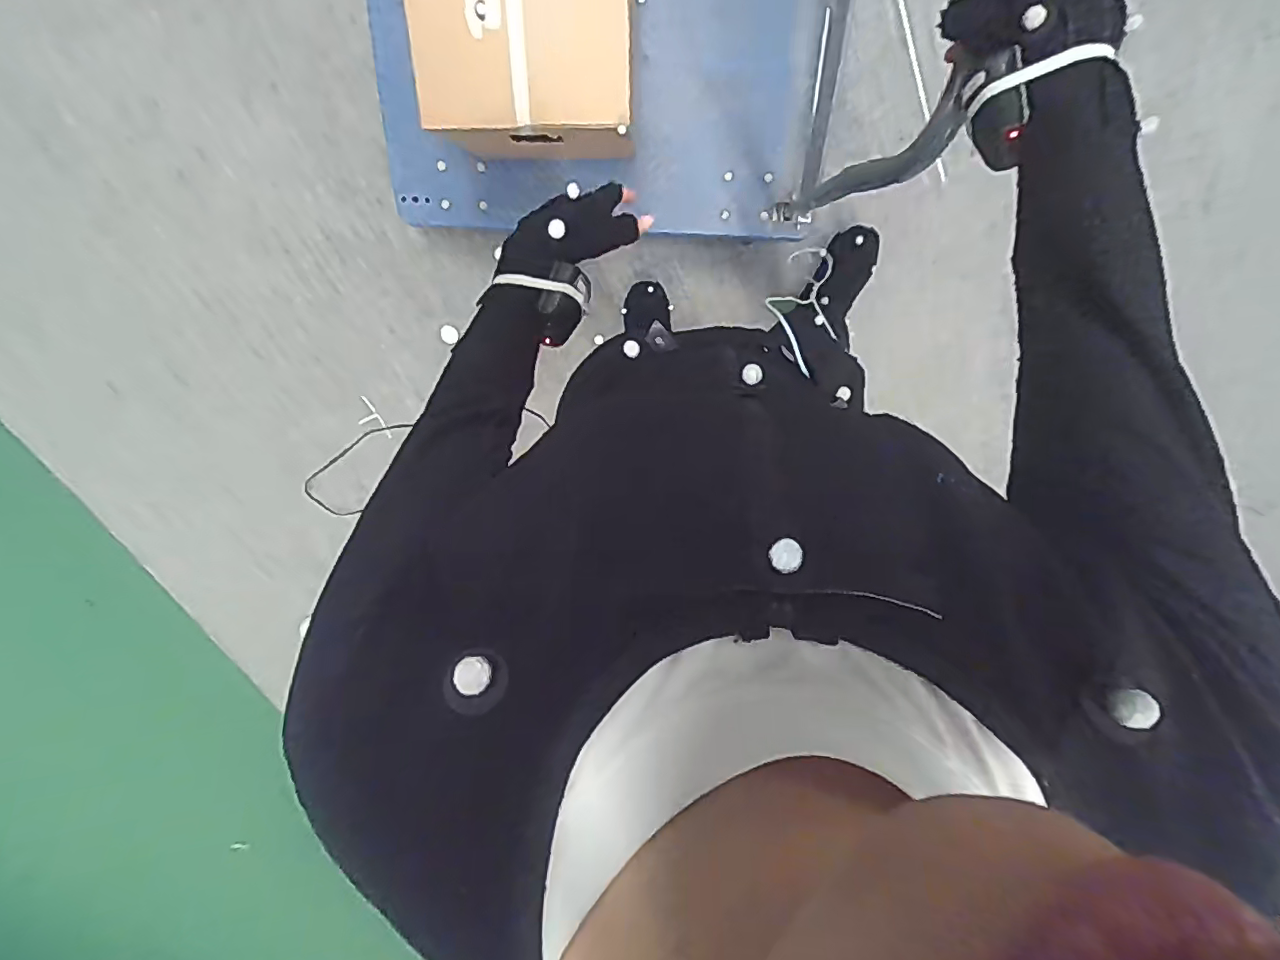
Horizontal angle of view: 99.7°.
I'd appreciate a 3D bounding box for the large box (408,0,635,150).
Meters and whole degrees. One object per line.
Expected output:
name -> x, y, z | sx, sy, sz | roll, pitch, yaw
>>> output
large box -> -0.166, -0.776, 0.857 | 0.320, 0.320, 0.408 | 1, 114, 2
